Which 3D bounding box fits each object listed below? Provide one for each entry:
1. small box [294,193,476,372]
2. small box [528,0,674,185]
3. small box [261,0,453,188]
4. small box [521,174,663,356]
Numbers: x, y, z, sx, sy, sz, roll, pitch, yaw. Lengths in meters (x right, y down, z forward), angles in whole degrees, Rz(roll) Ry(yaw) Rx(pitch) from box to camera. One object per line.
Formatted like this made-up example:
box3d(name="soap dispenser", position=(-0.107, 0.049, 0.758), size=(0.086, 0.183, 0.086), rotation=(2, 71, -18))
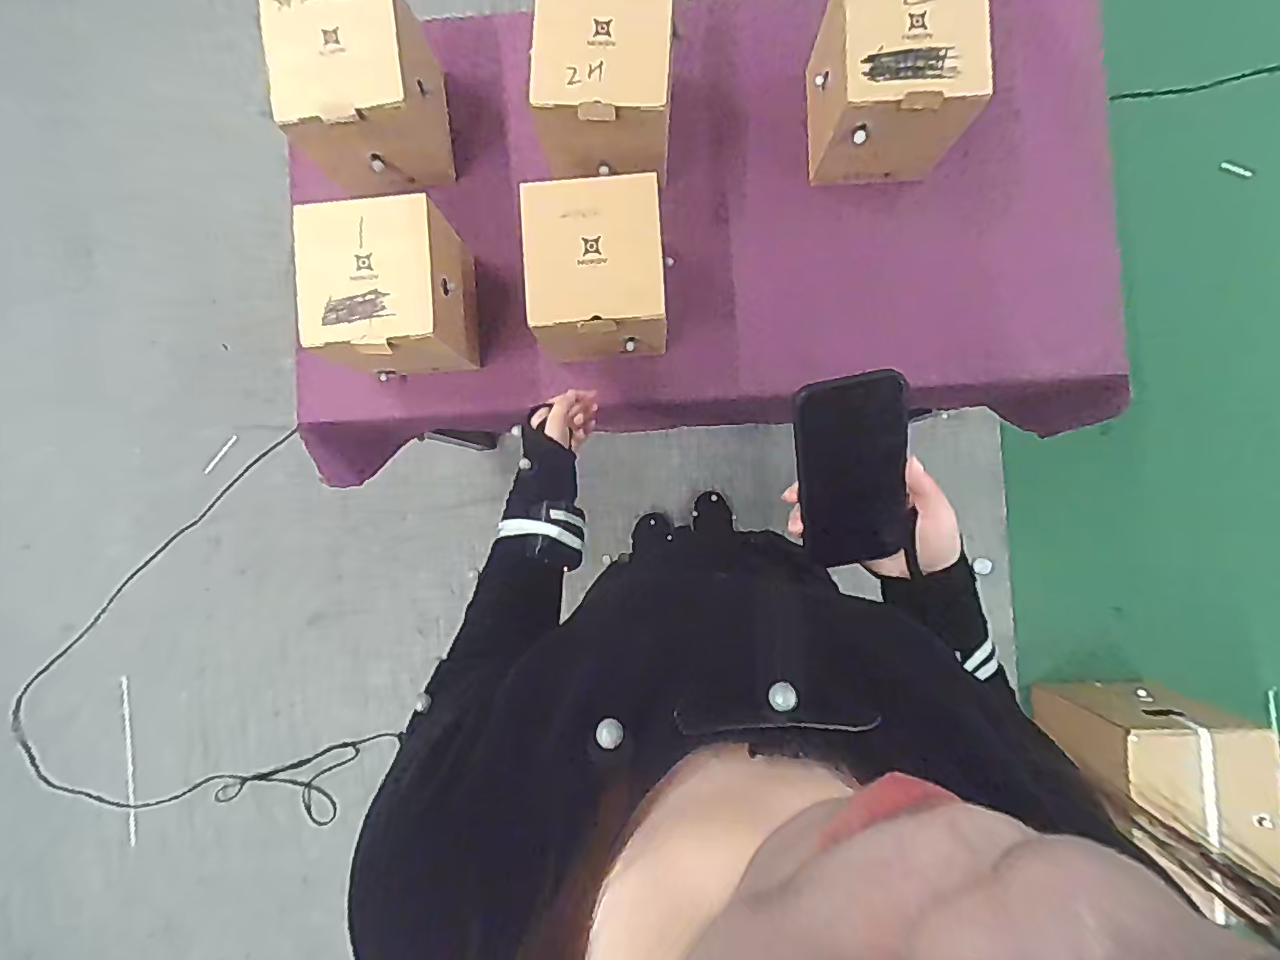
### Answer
box3d(name="small box", position=(-0.328, -0.249, 0.726), size=(0.168, 0.176, 0.179), rotation=(-4, 87, 2))
box3d(name="small box", position=(-0.044, -0.525, 0.722), size=(0.168, 0.176, 0.179), rotation=(4, 89, 3))
box3d(name="small box", position=(-0.370, -0.525, 0.736), size=(0.168, 0.176, 0.179), rotation=(-7, 89, 2))
box3d(name="small box", position=(-0.054, -0.268, 0.717), size=(0.168, 0.176, 0.179), rotation=(-3, 87, 2))
